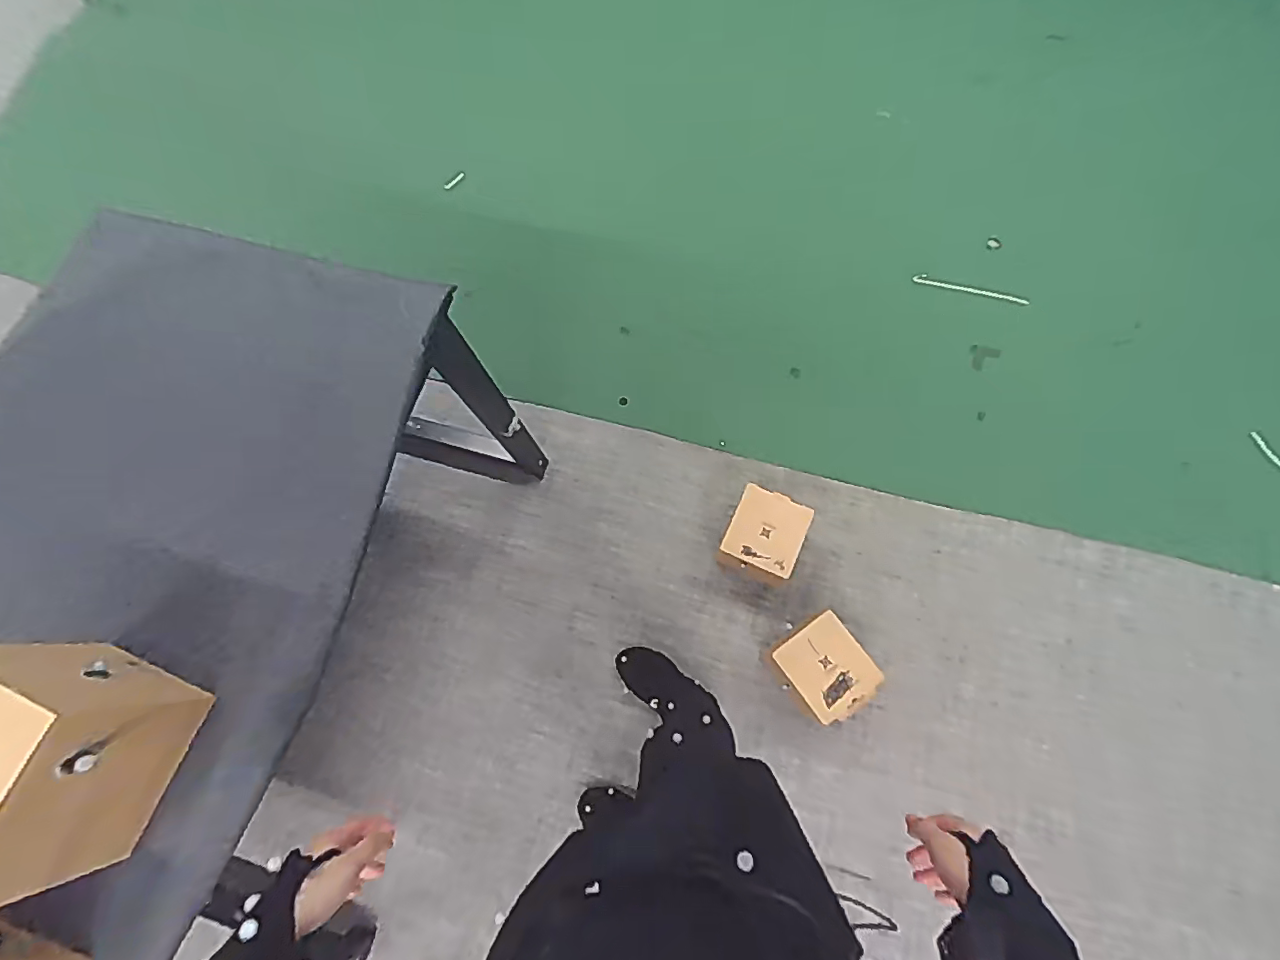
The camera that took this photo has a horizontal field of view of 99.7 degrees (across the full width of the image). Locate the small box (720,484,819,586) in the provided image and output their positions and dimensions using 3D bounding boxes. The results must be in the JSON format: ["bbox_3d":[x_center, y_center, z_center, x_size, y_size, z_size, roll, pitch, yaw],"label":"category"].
[{"bbox_3d":[0.300,0.137,1.290,0.168,0.176,0.179,24,76,9],"label":"small box"}]

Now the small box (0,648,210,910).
[{"bbox_3d":[-0.589,0.278,0.538,0.168,0.176,0.179,19,76,11],"label":"small box"}]

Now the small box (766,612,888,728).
[{"bbox_3d":[0.404,0.414,1.202,0.168,0.176,0.179,-35,74,-7],"label":"small box"}]
